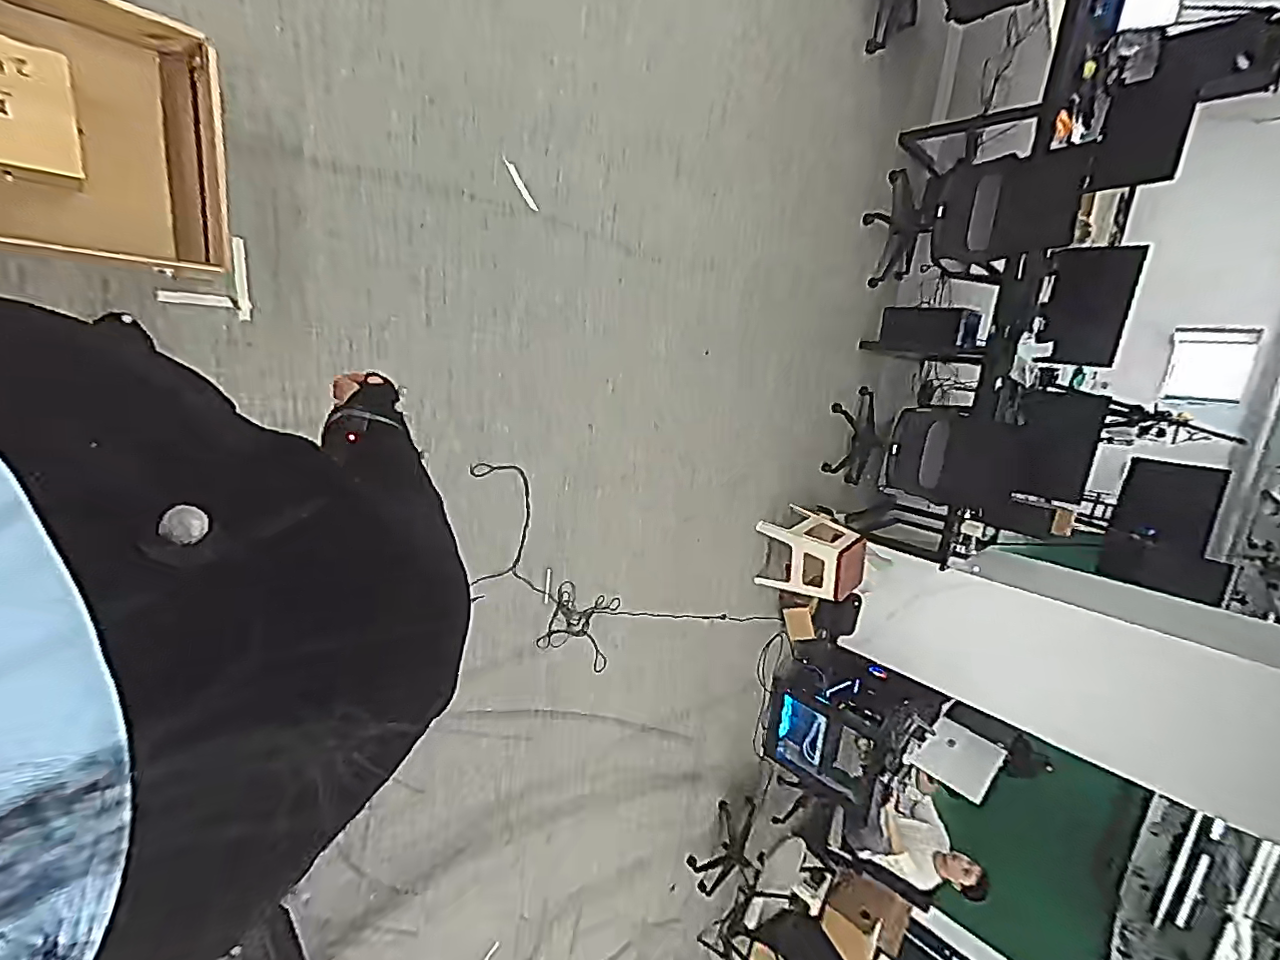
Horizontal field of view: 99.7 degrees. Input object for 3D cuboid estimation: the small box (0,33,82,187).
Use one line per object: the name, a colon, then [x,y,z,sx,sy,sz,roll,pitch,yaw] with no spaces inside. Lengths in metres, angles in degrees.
small box: [-0.995,-0.576,0.838,0.168,0.176,0.179,-8,109,-44]
